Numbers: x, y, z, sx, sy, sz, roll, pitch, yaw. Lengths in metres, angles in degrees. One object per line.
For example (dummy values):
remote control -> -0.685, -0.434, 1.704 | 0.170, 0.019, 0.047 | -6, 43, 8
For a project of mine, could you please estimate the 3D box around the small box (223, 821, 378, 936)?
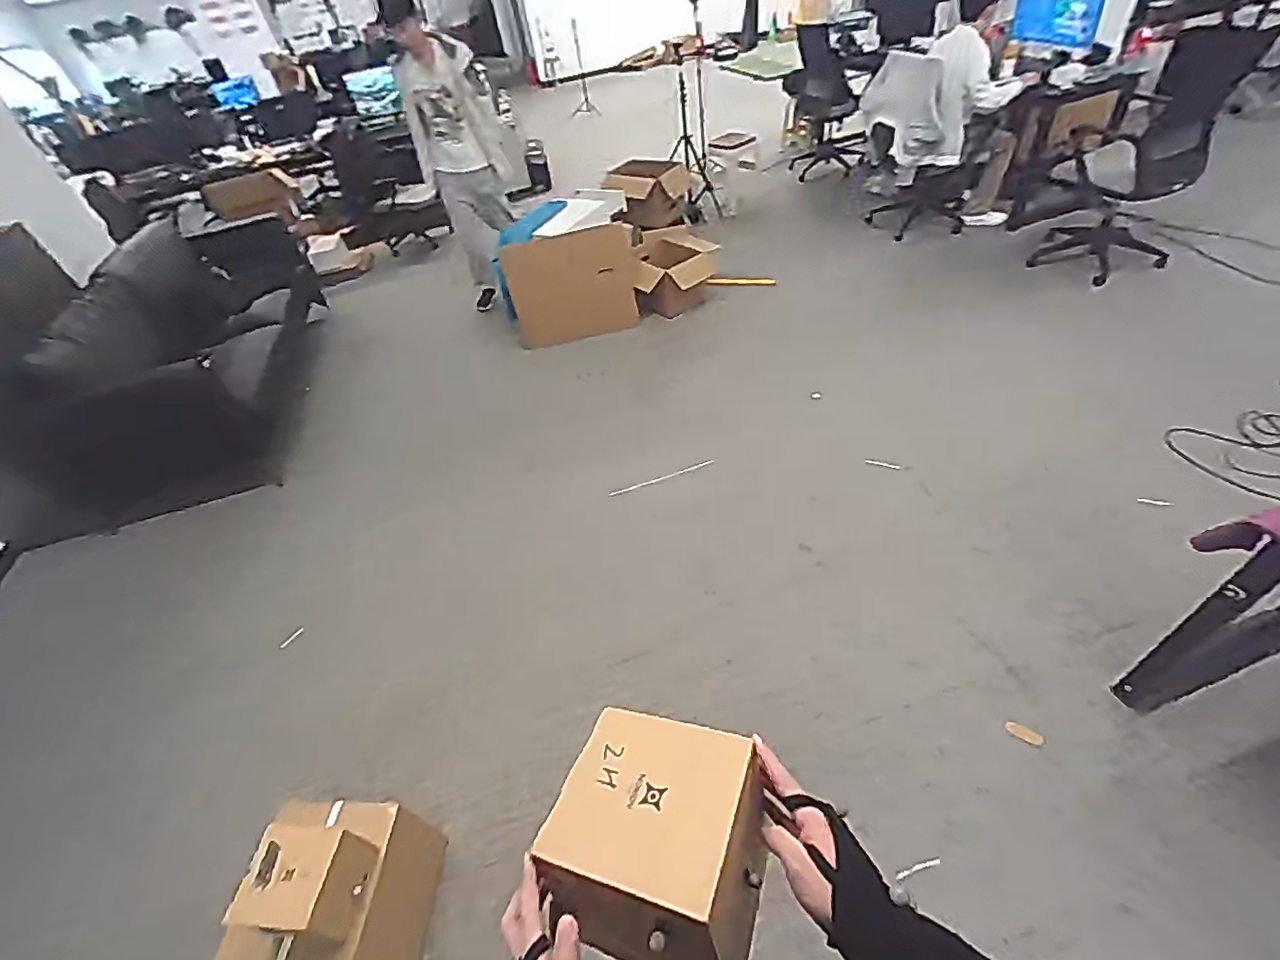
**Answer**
small box -> -0.685, 0.823, 1.116 | 0.179, 0.176, 0.168 | -2, 45, 7
